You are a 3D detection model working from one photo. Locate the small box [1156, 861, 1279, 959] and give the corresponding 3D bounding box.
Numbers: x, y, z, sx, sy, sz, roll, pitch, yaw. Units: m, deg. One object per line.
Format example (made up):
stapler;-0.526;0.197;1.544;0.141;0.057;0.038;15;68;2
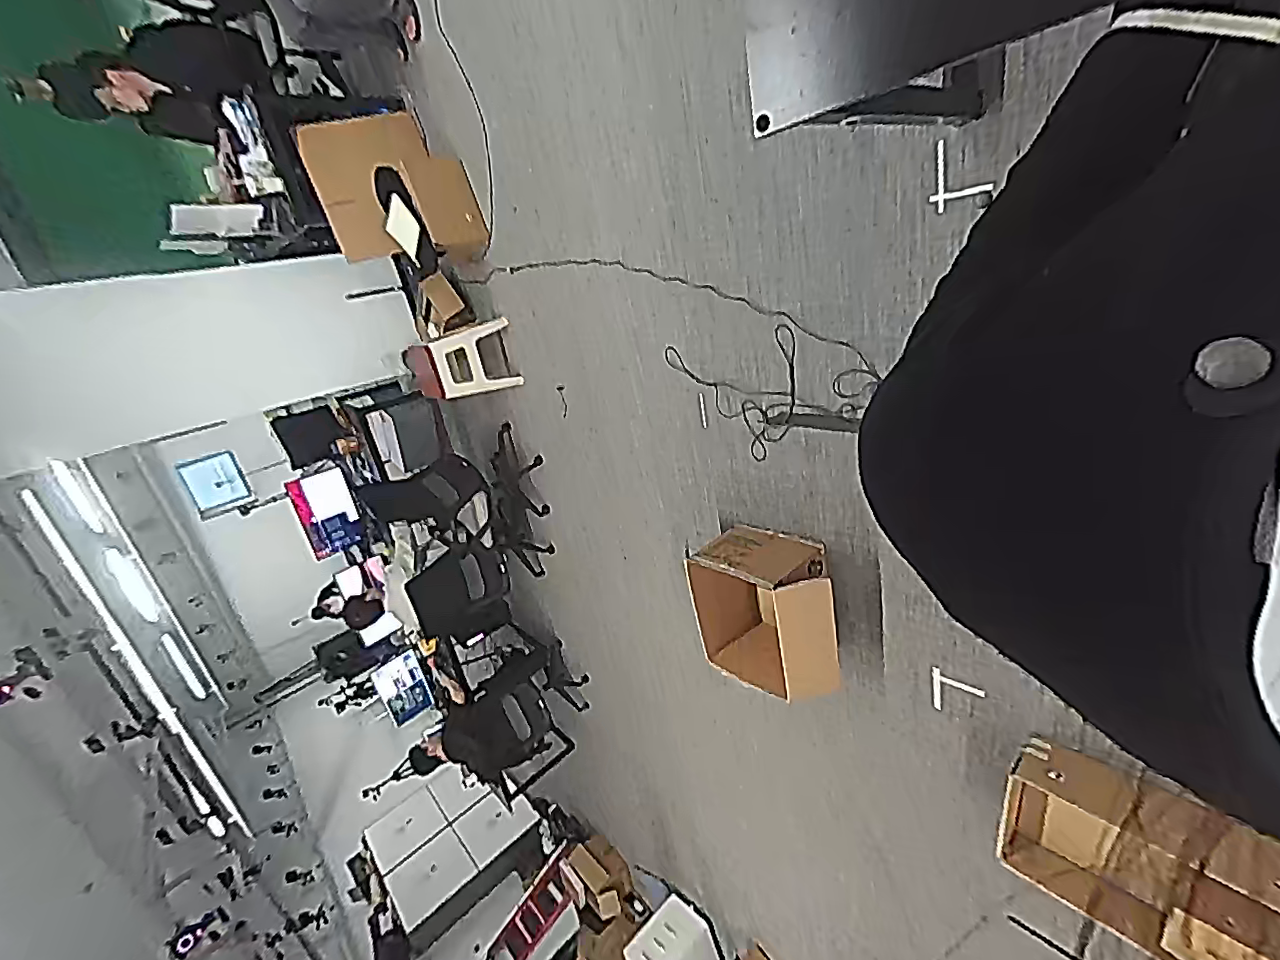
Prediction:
small box;1.415;1.095;1.324;0.179;0.176;0.168;17;122;48
